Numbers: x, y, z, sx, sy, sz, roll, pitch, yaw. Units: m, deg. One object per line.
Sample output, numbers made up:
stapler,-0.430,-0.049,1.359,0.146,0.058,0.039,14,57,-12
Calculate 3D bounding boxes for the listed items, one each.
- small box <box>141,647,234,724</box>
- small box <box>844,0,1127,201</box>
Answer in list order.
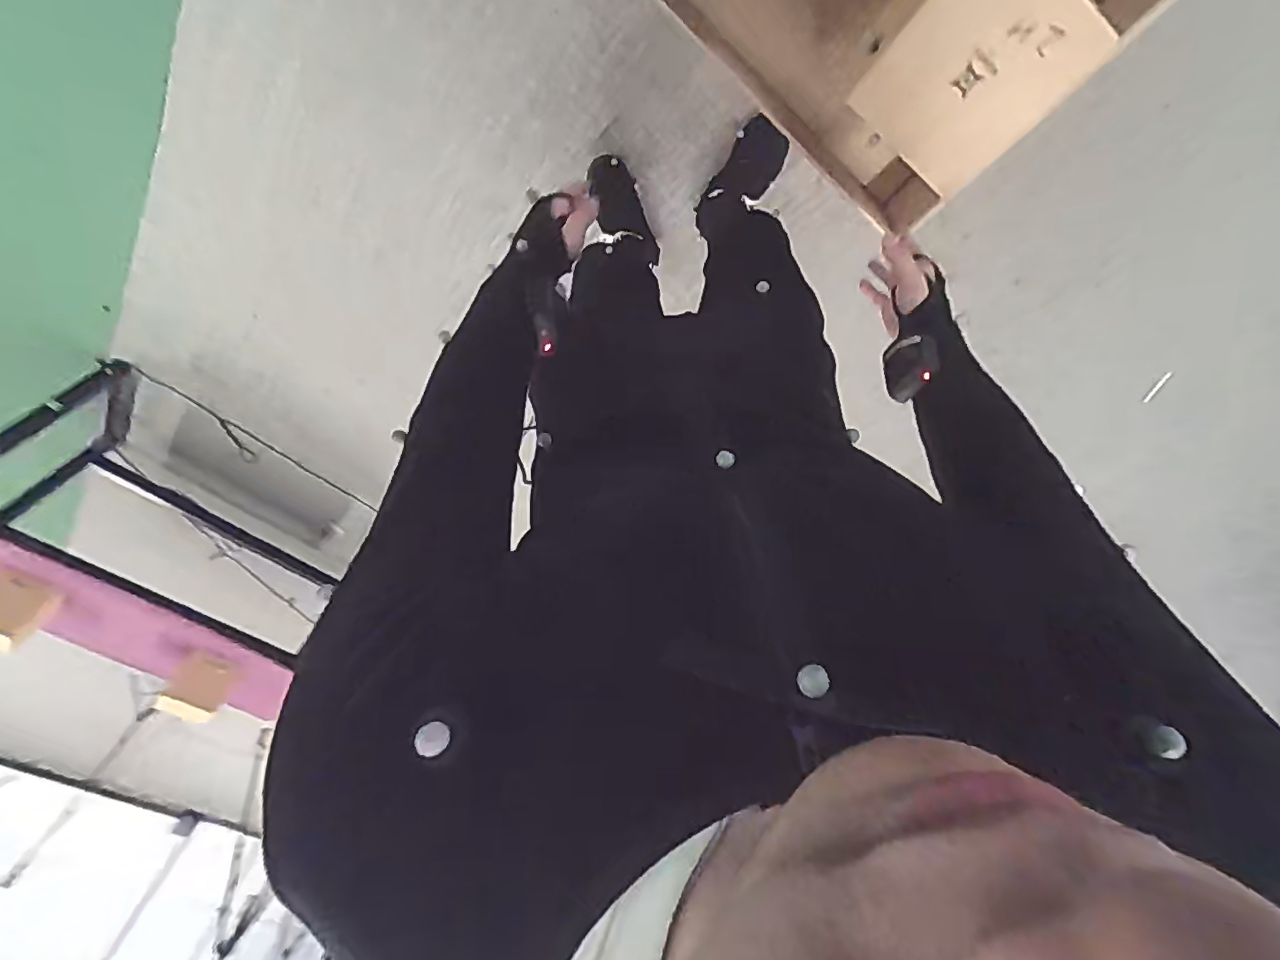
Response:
small box,-1.510,0.688,1.811,0.168,0.176,0.179,38,128,-24
small box,0.337,-0.444,0.569,0.168,0.176,0.179,31,131,-19
